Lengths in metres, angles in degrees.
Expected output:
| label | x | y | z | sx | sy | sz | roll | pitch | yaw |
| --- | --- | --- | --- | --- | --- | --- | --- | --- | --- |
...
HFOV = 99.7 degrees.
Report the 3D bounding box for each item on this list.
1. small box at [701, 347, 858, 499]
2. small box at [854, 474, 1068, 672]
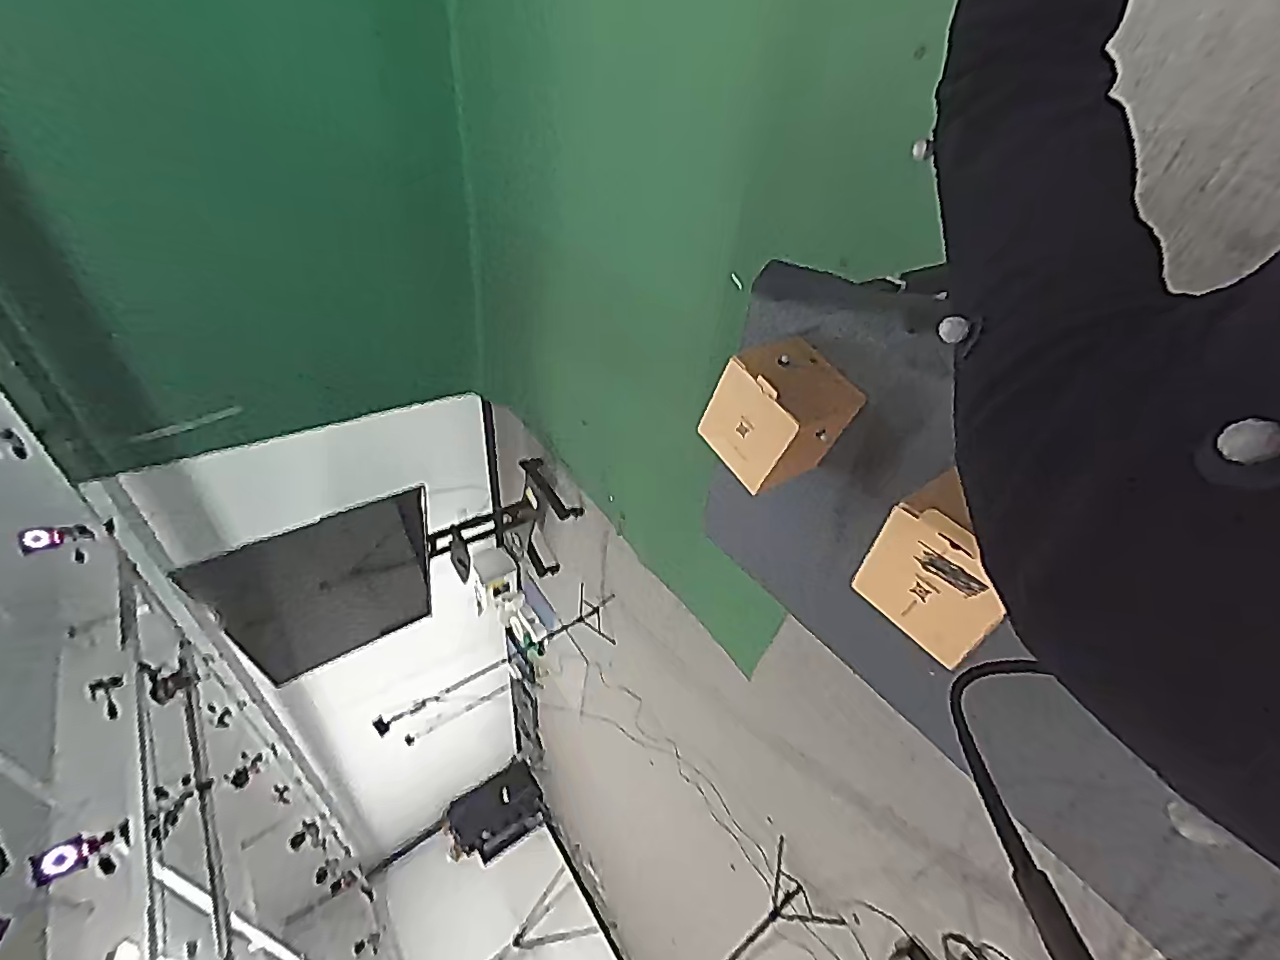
| label | x | y | z | sx | sy | sz | roll | pitch | yaw |
| --- | --- | --- | --- | --- | --- | --- | --- | --- | --- |
| small box | 0.239 | -0.103 | 0.924 | 0.168 | 0.176 | 0.179 | 53 | 148 | 26 |
| small box | 0.438 | 0.118 | 0.743 | 0.168 | 0.176 | 0.179 | 45 | 143 | 35 |
